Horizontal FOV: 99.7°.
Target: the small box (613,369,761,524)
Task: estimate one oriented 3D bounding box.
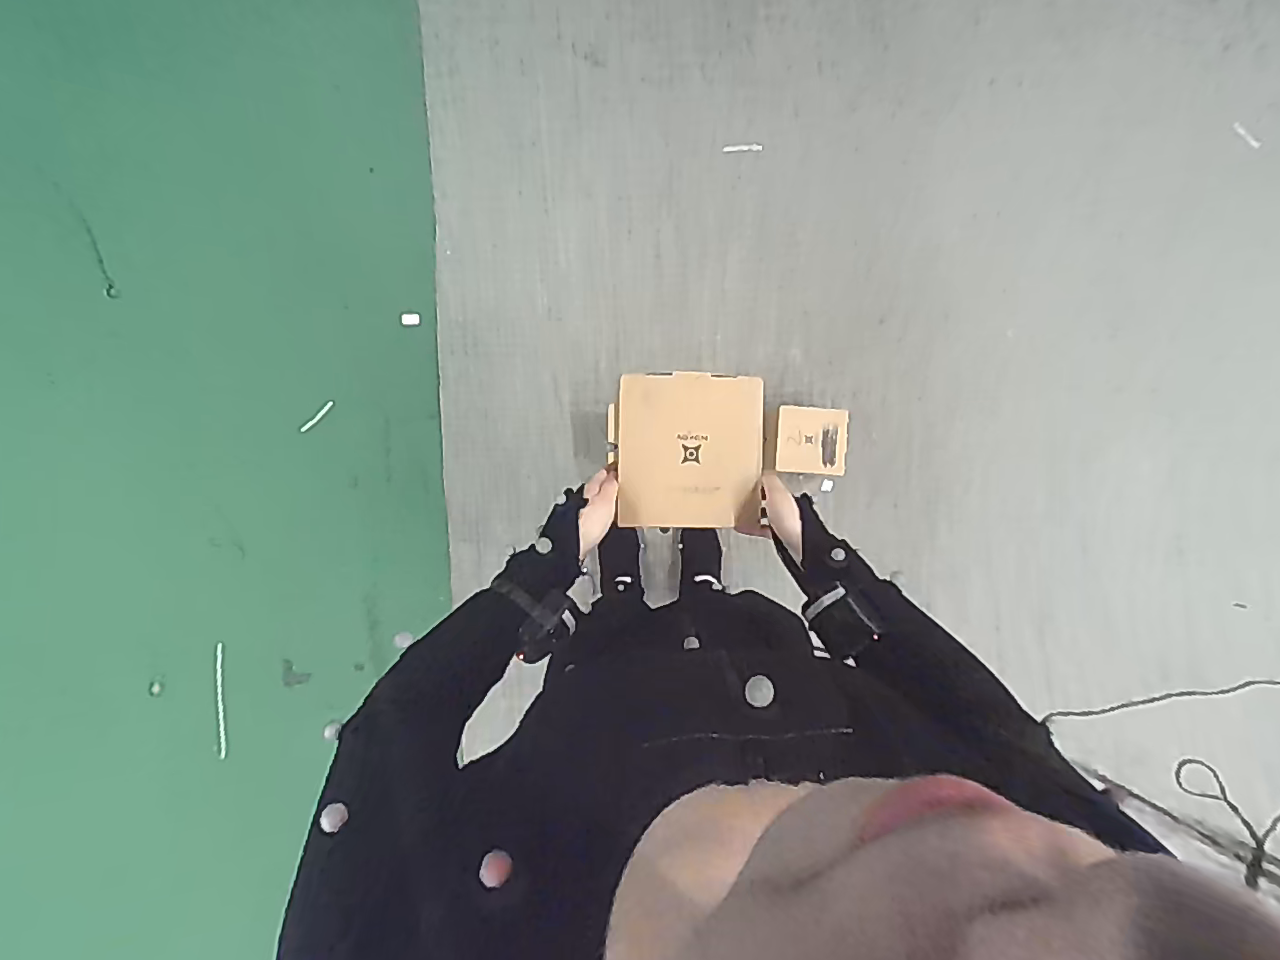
[{"bbox_3d":[0.051,-0.037,0.698,0.168,0.176,0.179,1,90,-4],"label":"small box"}]

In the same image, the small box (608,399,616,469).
[{"bbox_3d":[0.006,-0.115,1.426,0.168,0.176,0.179,1,91,0],"label":"small box"}]
